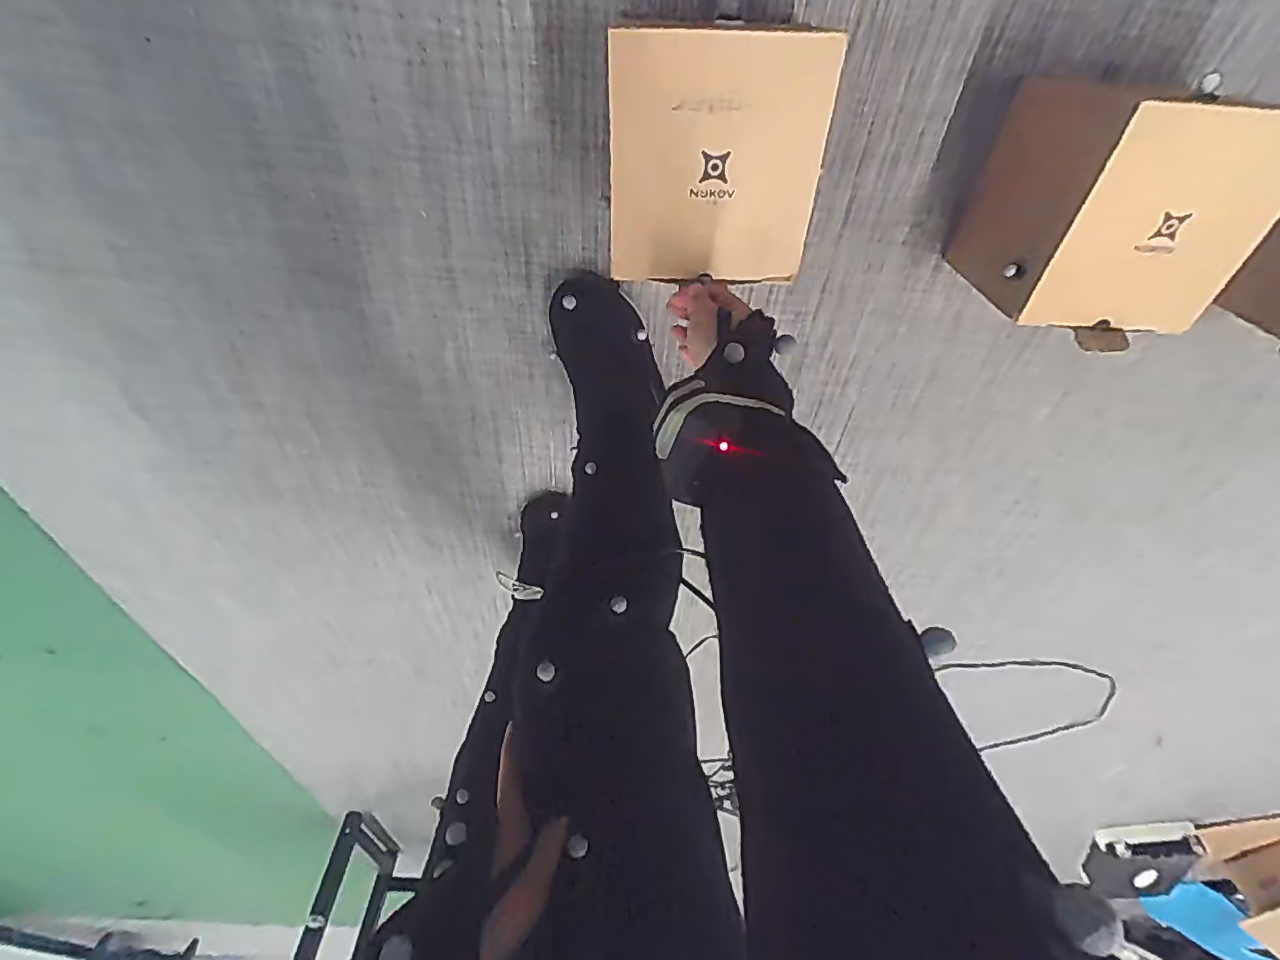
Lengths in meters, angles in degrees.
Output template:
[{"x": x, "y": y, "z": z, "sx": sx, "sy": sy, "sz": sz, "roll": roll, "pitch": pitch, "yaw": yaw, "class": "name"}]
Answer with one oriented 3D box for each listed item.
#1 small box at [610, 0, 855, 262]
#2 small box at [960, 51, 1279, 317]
[{"x": 0.061, "y": -0.310, "z": 0.469, "sx": 0.168, "sy": 0.176, "sz": 0.179, "roll": 1, "pitch": 132, "yaw": 0, "class": "small box"}, {"x": 0.434, "y": -0.272, "z": 0.494, "sx": 0.168, "sy": 0.176, "sz": 0.179, "roll": 3, "pitch": 133, "yaw": -2, "class": "small box"}]
